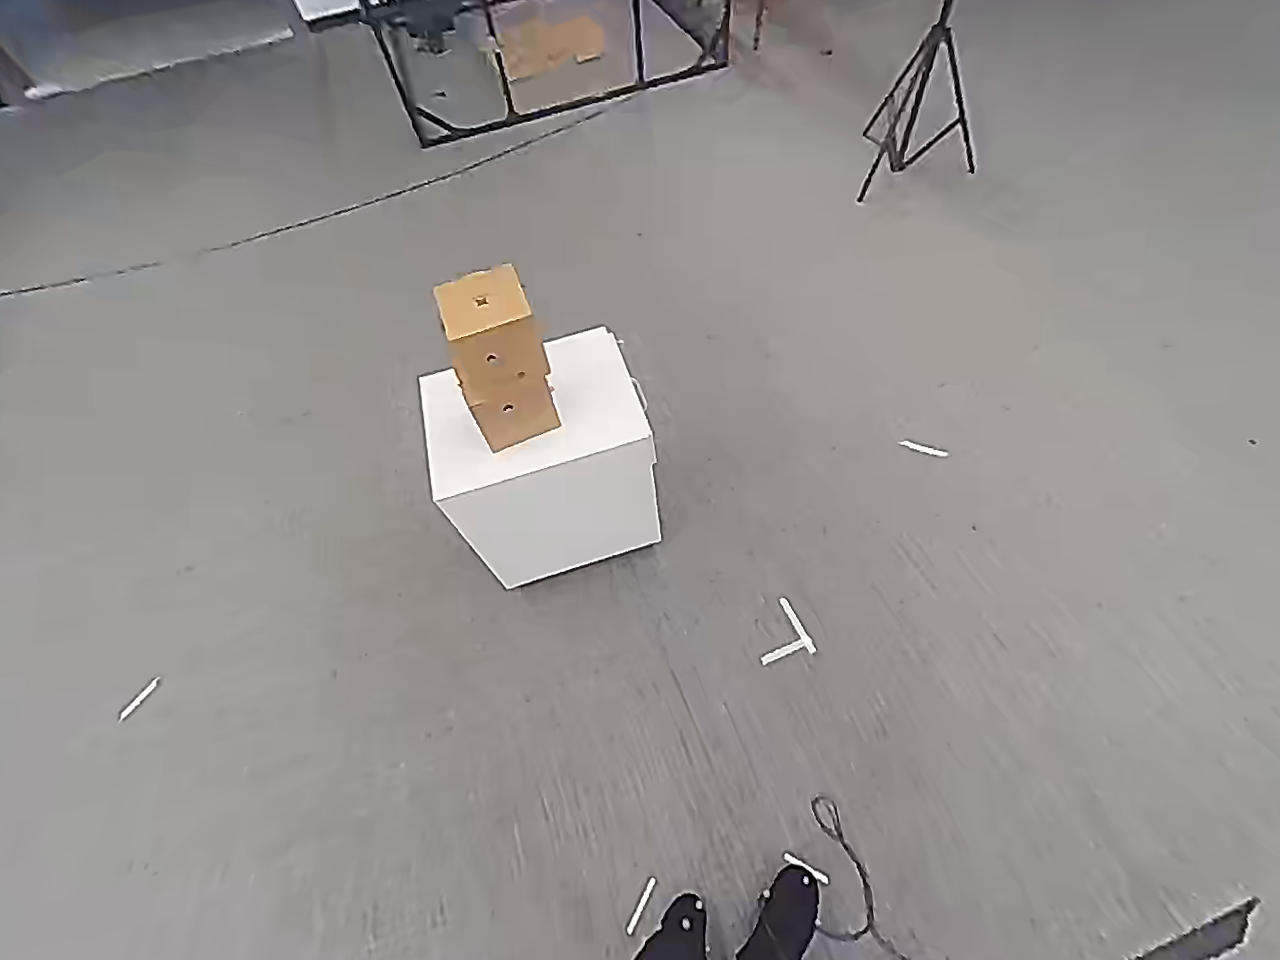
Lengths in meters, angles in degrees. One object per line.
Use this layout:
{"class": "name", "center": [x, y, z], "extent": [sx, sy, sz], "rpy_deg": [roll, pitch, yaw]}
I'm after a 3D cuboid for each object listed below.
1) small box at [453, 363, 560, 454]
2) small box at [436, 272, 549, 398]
{"class": "small box", "center": [-0.304, -0.187, 1.252], "extent": [0.179, 0.176, 0.168], "rpy_deg": [-23, 58, -10]}
{"class": "small box", "center": [-0.301, -0.293, 1.126], "extent": [0.168, 0.176, 0.179], "rpy_deg": [-21, 57, -8]}
